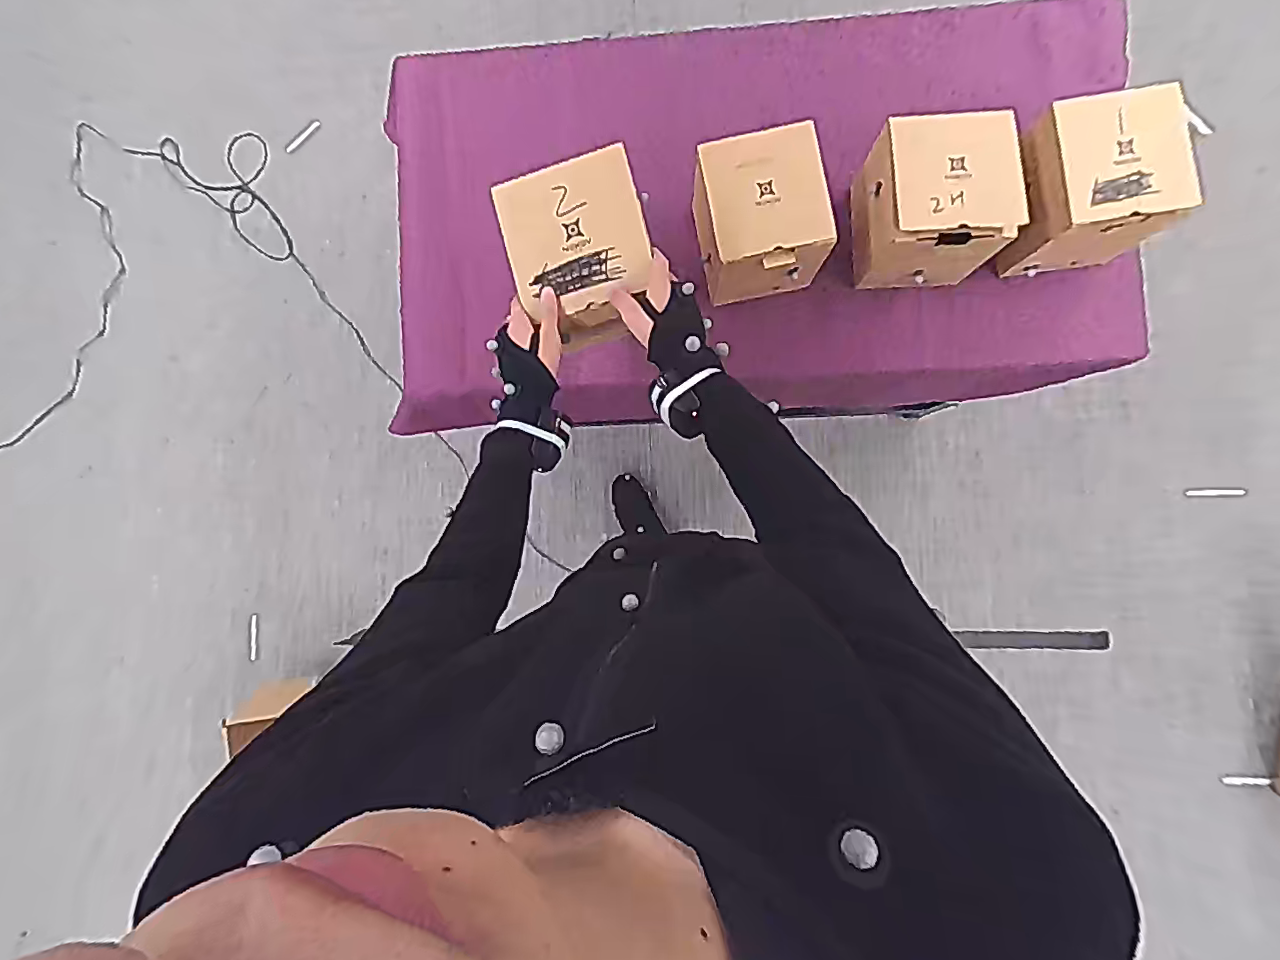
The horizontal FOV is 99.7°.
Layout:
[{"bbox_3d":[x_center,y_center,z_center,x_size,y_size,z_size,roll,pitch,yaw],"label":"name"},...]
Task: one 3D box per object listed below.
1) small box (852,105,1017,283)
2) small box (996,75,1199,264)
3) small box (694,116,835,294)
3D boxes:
[{"bbox_3d":[0.425,-0.415,0.806,0.168,0.176,0.179,-1,88,4],"label":"small box"},{"bbox_3d":[0.644,-0.435,0.793,0.168,0.176,0.179,-7,87,4],"label":"small box"},{"bbox_3d":[0.179,-0.400,0.824,0.168,0.176,0.179,-11,87,2],"label":"small box"}]
